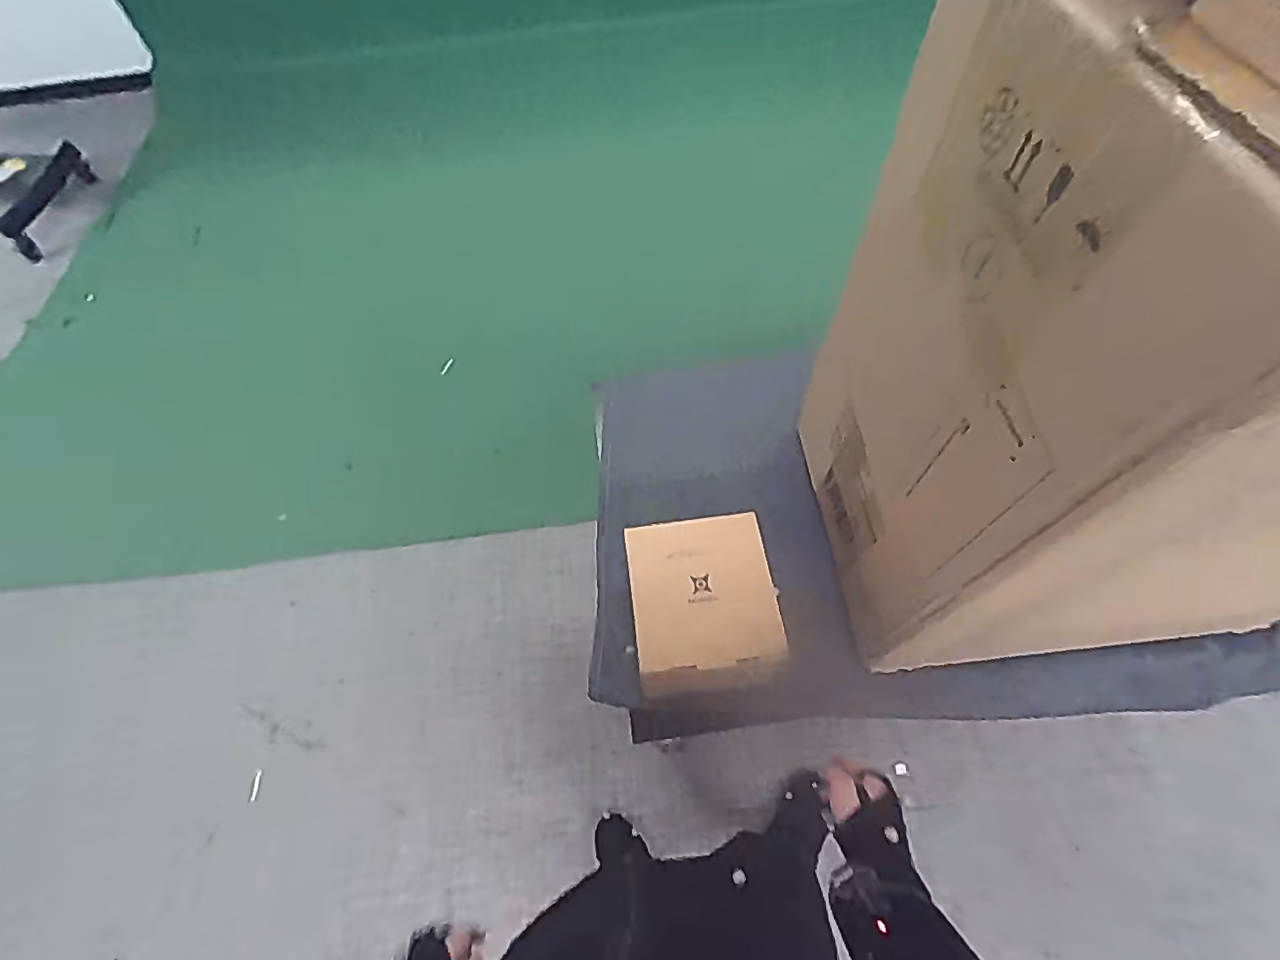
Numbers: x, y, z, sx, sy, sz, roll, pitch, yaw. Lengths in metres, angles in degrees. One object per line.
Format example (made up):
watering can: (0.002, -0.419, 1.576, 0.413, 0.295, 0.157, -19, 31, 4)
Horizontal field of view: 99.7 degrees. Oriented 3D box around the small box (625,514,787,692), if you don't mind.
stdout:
small box: (0.075, 0.167, 0.701, 0.168, 0.176, 0.179, -7, 58, -3)
